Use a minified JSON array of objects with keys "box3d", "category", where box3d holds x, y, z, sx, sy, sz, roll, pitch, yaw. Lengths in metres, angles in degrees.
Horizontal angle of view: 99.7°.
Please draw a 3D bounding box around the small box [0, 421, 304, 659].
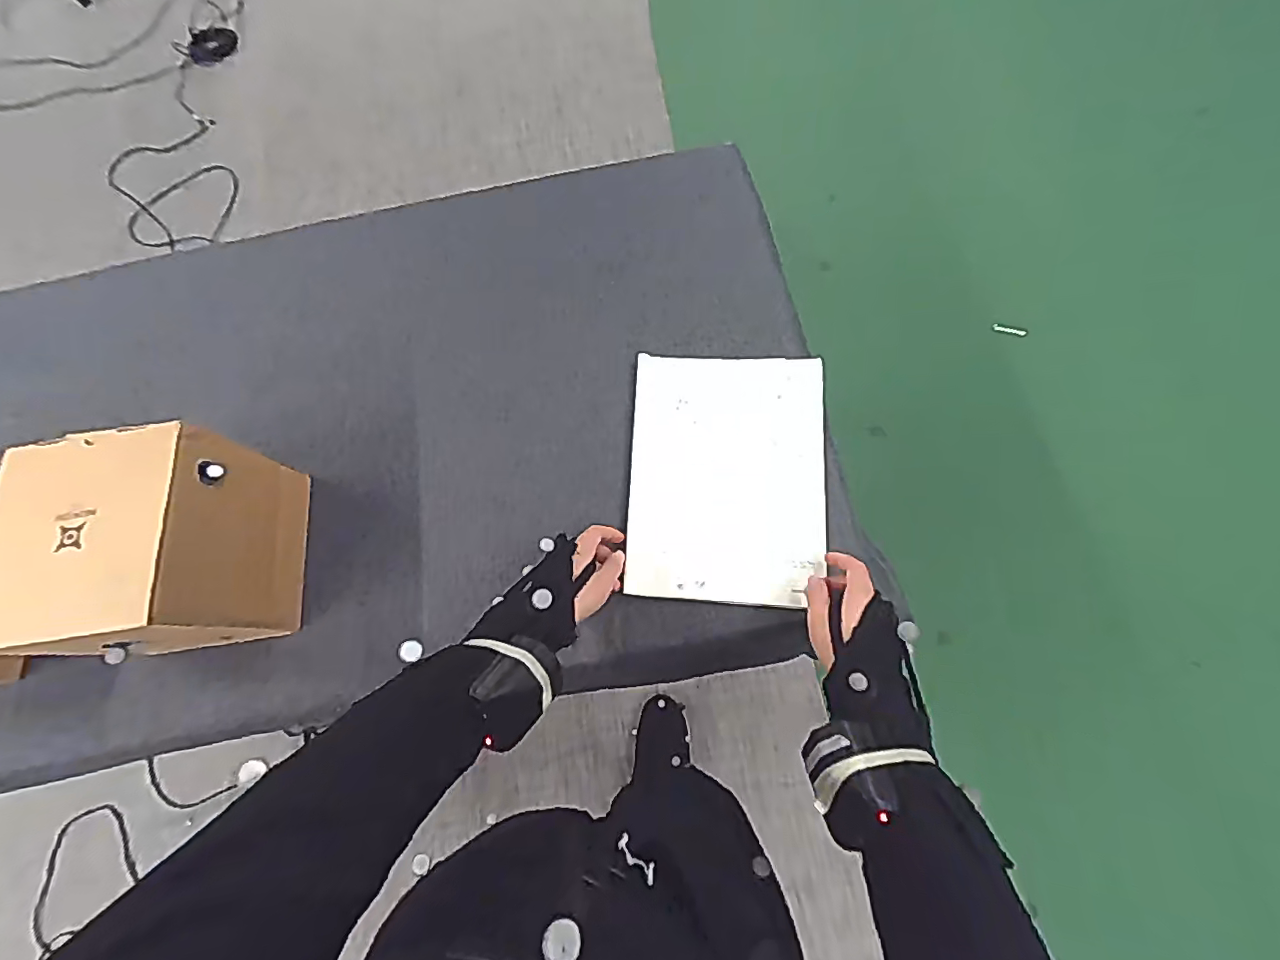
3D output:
[{"box3d":[-0.450,0.067,0.507,0.168,0.176,0.179,-9,71,3],"category":"small box"}]
